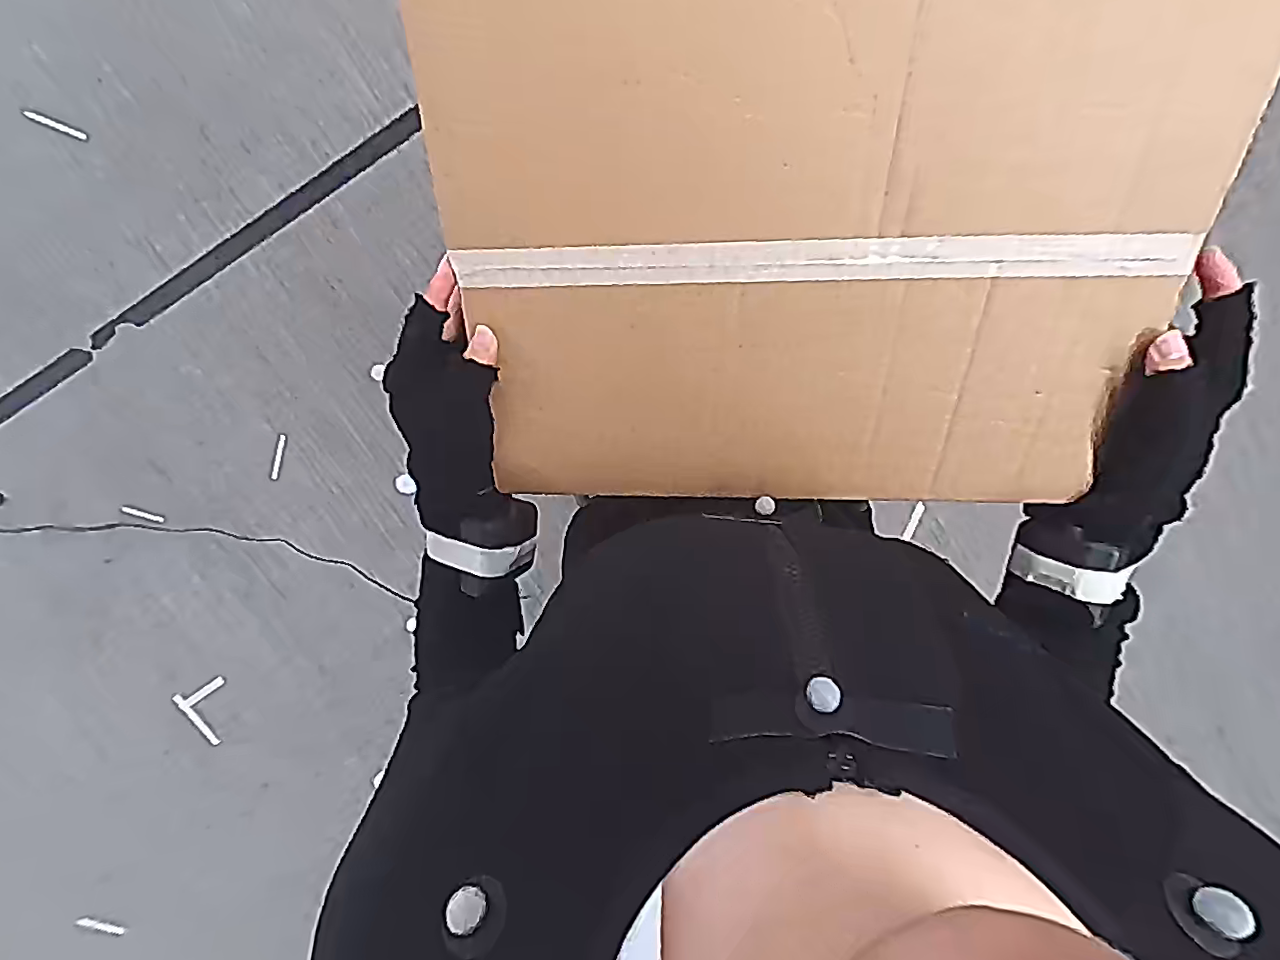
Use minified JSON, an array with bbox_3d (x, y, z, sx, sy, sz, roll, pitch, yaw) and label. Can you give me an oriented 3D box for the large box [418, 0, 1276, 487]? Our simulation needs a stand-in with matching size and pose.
[{"bbox_3d":[0.102,-0.202,0.440,0.408,0.320,0.320,0,121,4],"label":"large box"}]
